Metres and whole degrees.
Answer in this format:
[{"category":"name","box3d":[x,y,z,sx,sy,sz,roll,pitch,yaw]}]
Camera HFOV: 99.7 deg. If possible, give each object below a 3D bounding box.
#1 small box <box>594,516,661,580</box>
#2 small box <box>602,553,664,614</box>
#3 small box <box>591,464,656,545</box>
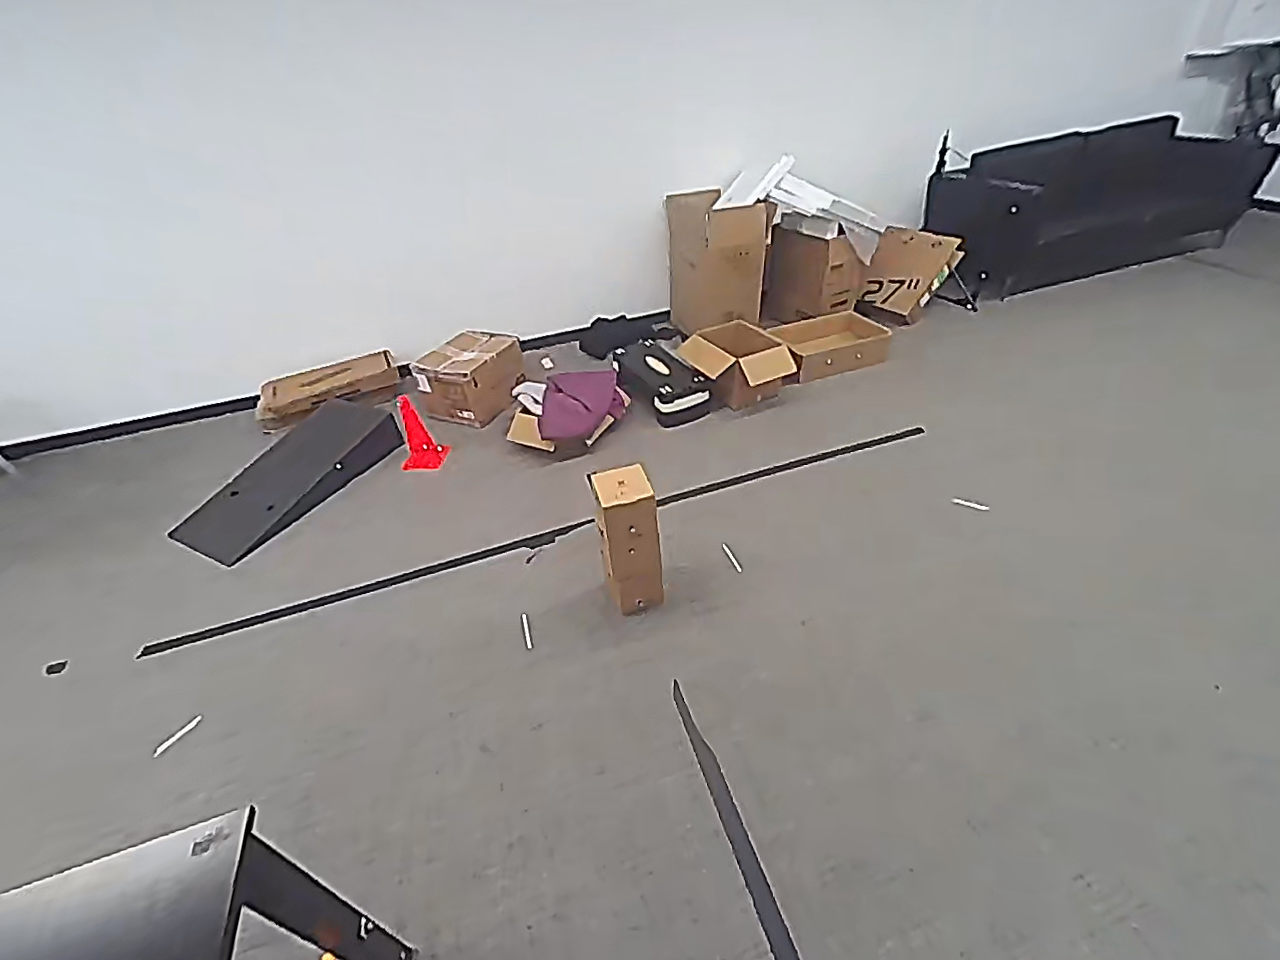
[{"category":"small box","box3d":[-0.040,0.211,1.822,0.179,0.176,0.168,-16,39,-12]},{"category":"small box","box3d":[-0.026,0.341,1.922,0.168,0.176,0.179,-19,41,-15]},{"category":"small box","box3d":[-0.052,0.079,1.723,0.168,0.176,0.179,-14,39,-9]}]
